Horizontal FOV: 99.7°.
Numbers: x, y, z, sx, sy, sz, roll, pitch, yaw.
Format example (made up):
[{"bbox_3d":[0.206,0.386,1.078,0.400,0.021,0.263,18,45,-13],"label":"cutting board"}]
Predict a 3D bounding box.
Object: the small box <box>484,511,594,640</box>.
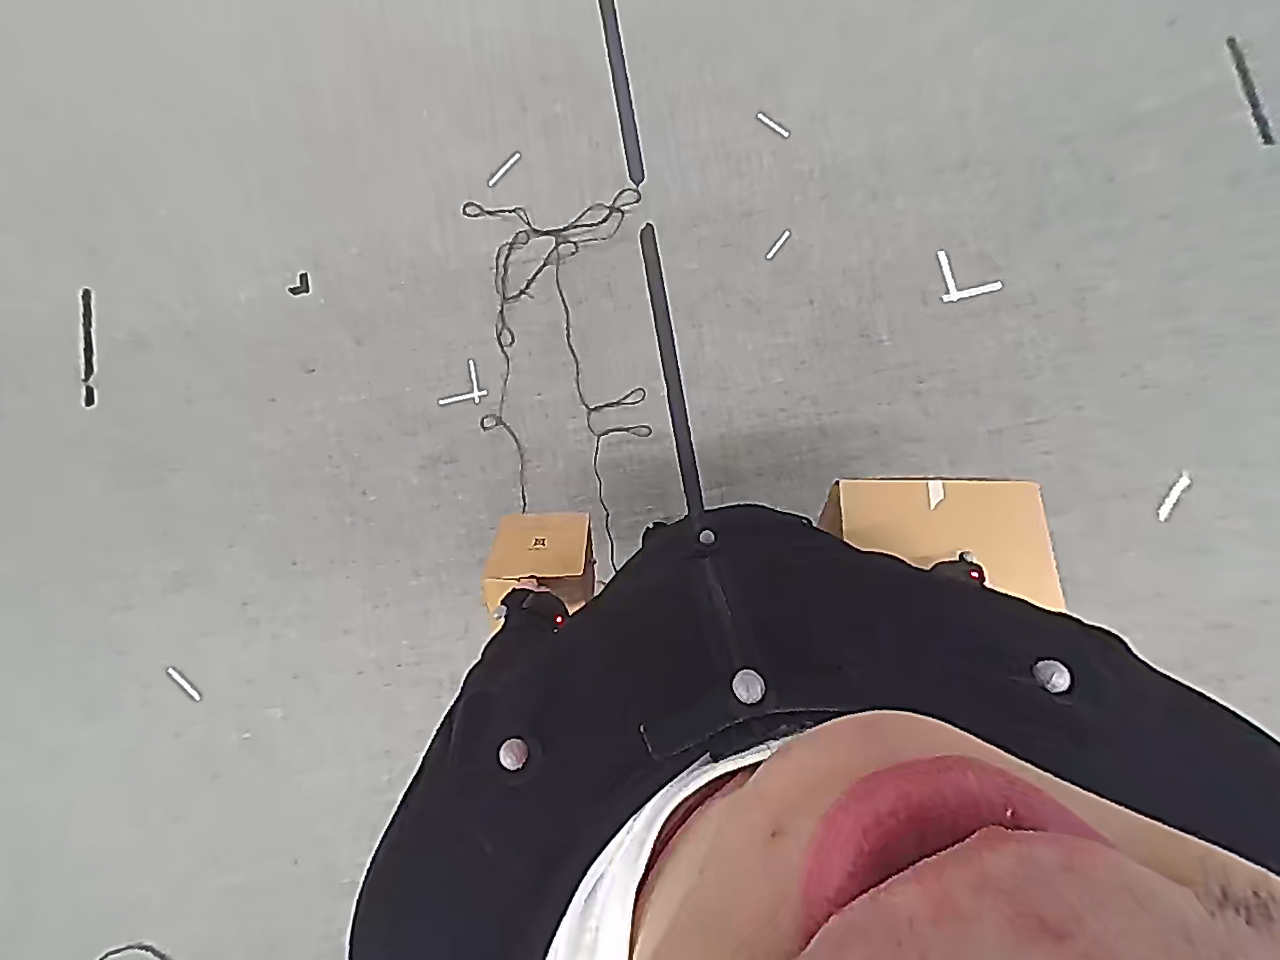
[{"bbox_3d":[-0.173,0.175,0.988,0.168,0.179,0.176,-1,125,-1],"label":"small box"}]
